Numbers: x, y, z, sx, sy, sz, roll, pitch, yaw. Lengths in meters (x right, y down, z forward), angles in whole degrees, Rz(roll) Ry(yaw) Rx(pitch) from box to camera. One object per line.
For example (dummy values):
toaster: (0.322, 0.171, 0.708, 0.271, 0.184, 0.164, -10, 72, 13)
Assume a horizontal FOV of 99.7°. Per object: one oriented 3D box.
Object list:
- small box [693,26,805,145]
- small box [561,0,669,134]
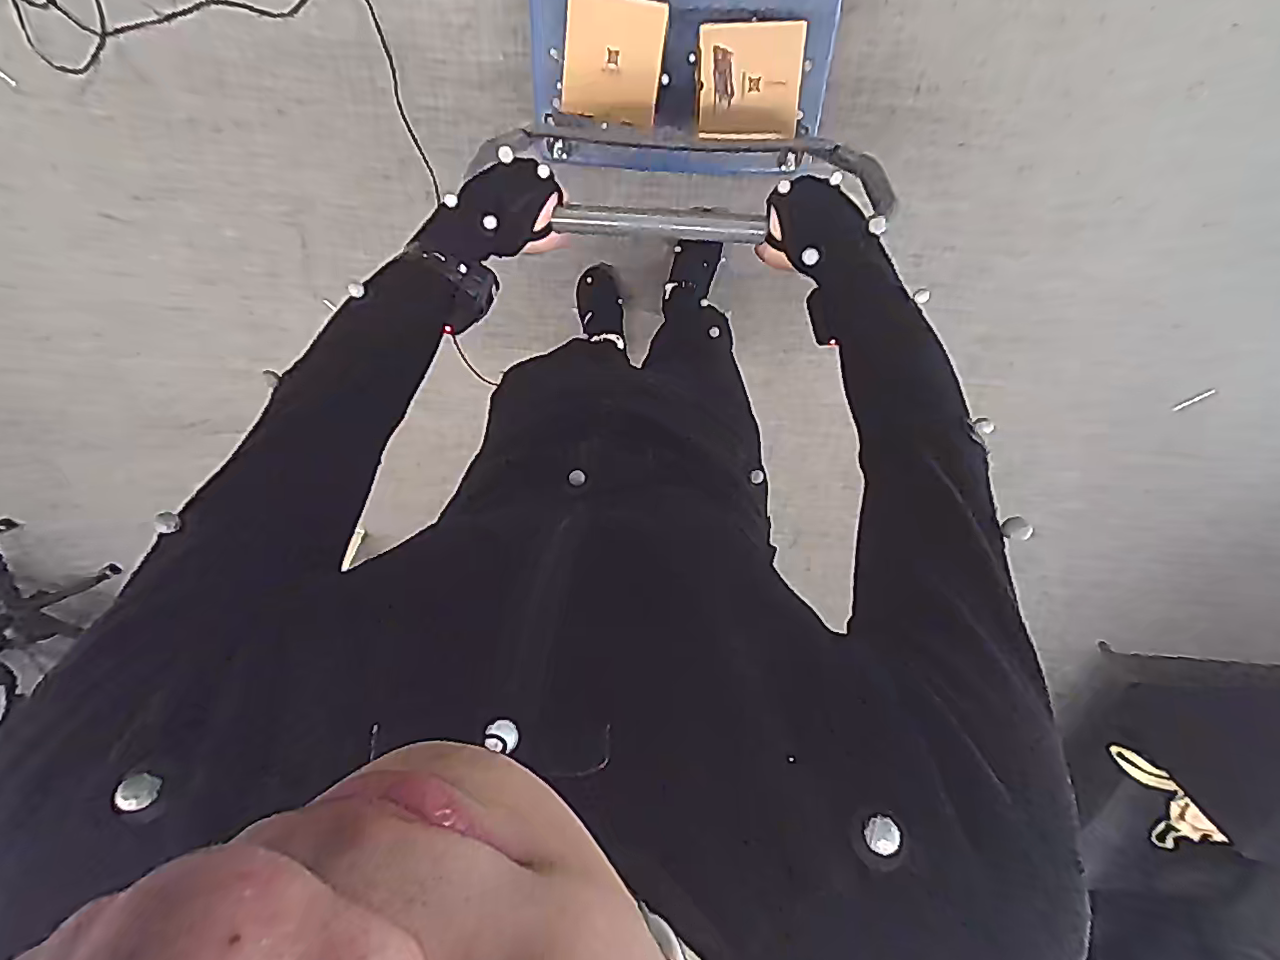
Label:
small box: (0.188, -0.715, 0.994, 0.179, 0.176, 0.168, 0, 123, 2)
small box: (-0.046, -0.749, 0.986, 0.168, 0.176, 0.179, 8, 124, -4)
